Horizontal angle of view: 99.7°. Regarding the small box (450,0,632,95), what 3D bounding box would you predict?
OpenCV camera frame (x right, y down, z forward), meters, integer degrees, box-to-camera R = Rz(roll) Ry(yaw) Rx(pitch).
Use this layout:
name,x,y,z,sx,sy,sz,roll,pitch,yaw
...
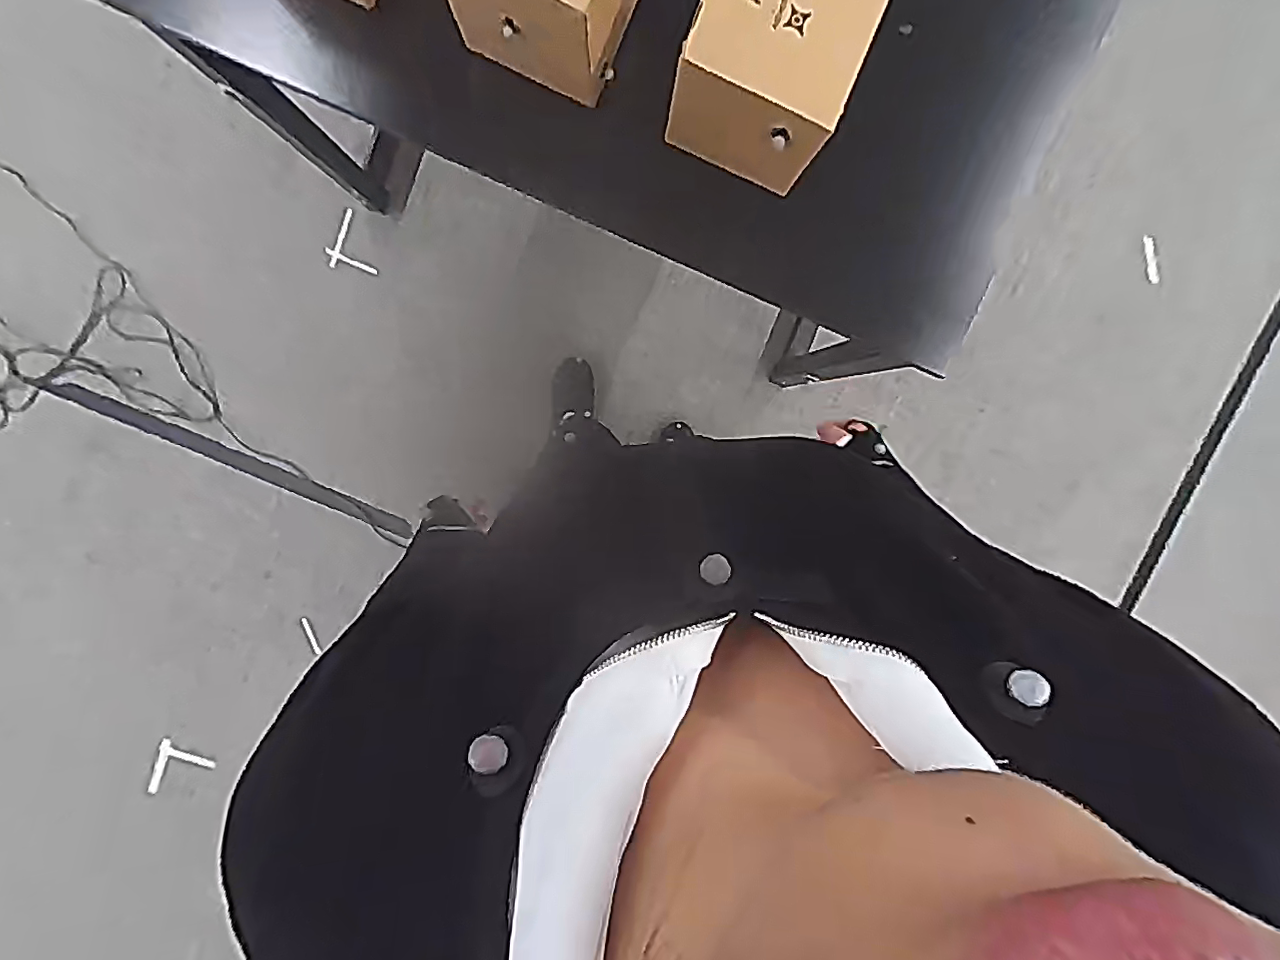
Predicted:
name,x,y,z,sx,sy,sz,roll,pitch,yaw
small box,-0.104,-0.577,0.600,0.179,0.176,0.168,23,95,-4

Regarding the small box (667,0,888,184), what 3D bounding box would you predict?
name,x,y,z,sx,sy,sz,roll,pitch,yaw
small box,0.145,-0.476,0.622,0.179,0.176,0.168,21,94,-5
